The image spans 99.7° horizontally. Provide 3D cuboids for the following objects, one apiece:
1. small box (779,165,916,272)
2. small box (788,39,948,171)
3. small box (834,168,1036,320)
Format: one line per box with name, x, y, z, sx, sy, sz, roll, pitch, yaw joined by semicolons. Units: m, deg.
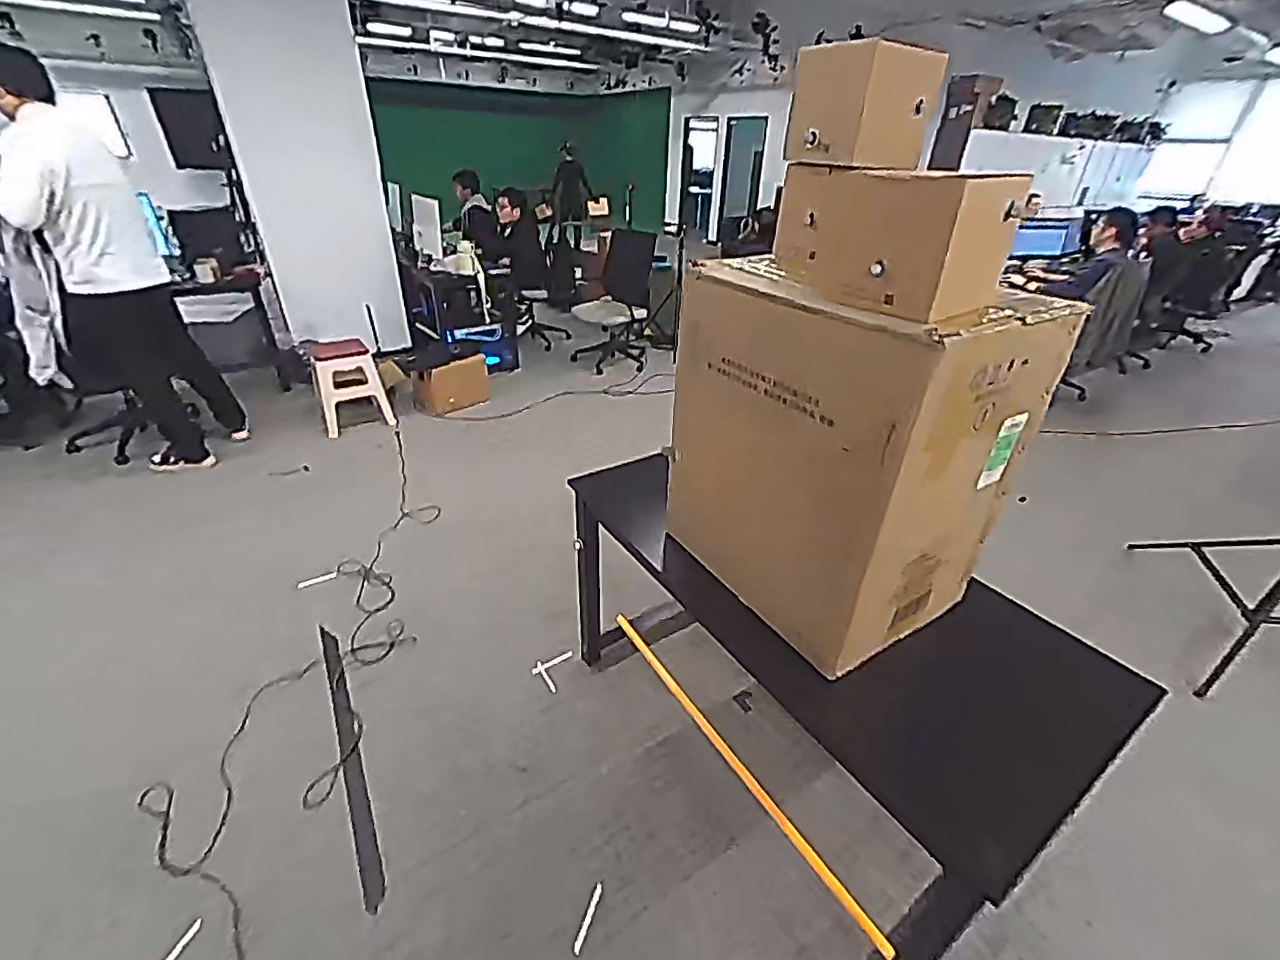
small box;0.384;-0.497;1.023;0.179;0.176;0.168;-17;37;-29
small box;0.379;-0.631;0.928;0.179;0.176;0.168;-16;35;-27
small box;0.393;-0.330;0.746;0.179;0.176;0.168;-21;36;-30
